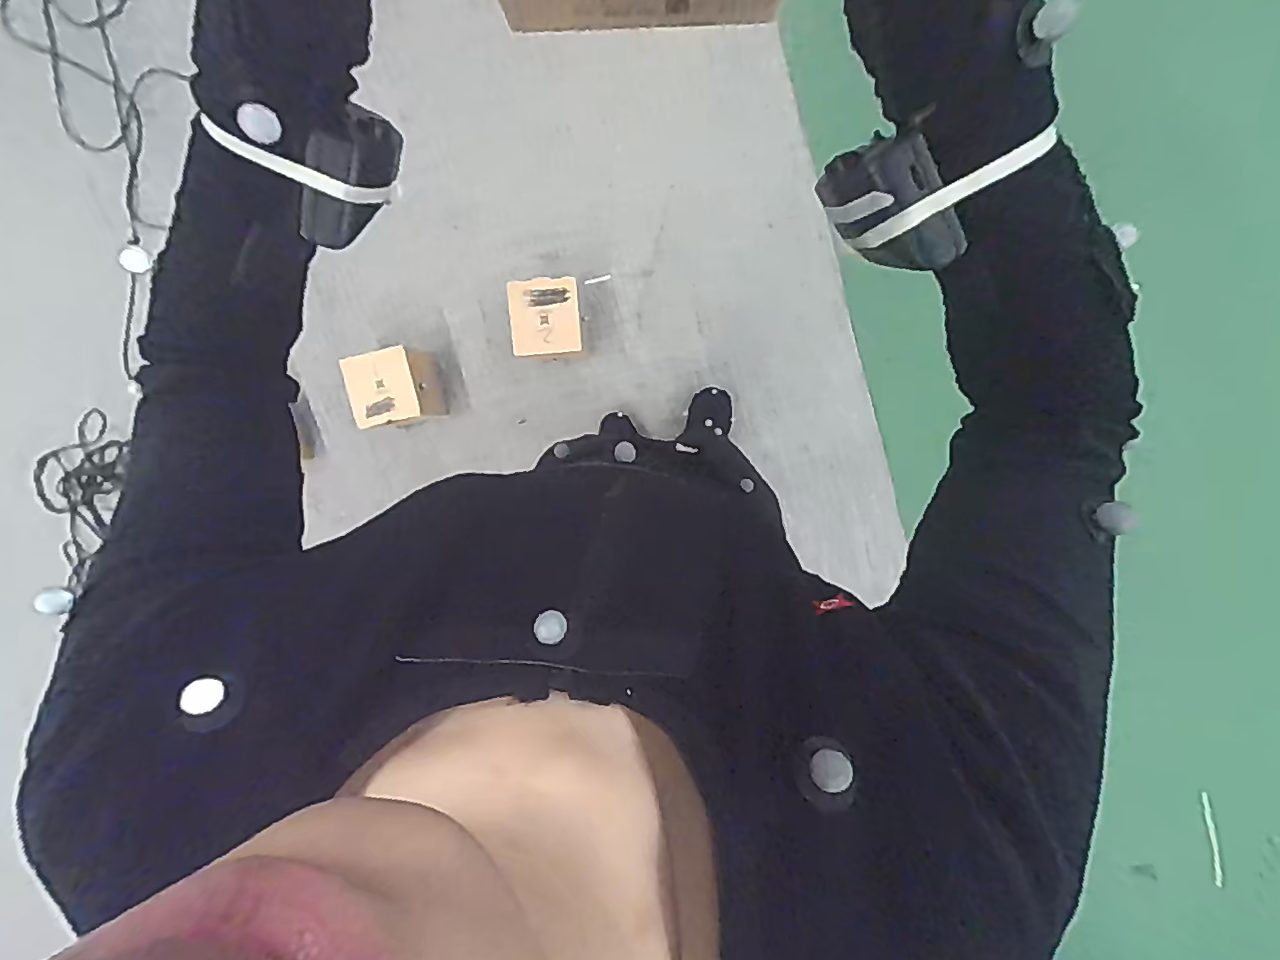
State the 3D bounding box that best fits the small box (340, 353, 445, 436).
[{"bbox_3d":[-0.623,-0.216,1.384,0.168,0.176,0.179,-12,96,3],"label":"small box"}]
